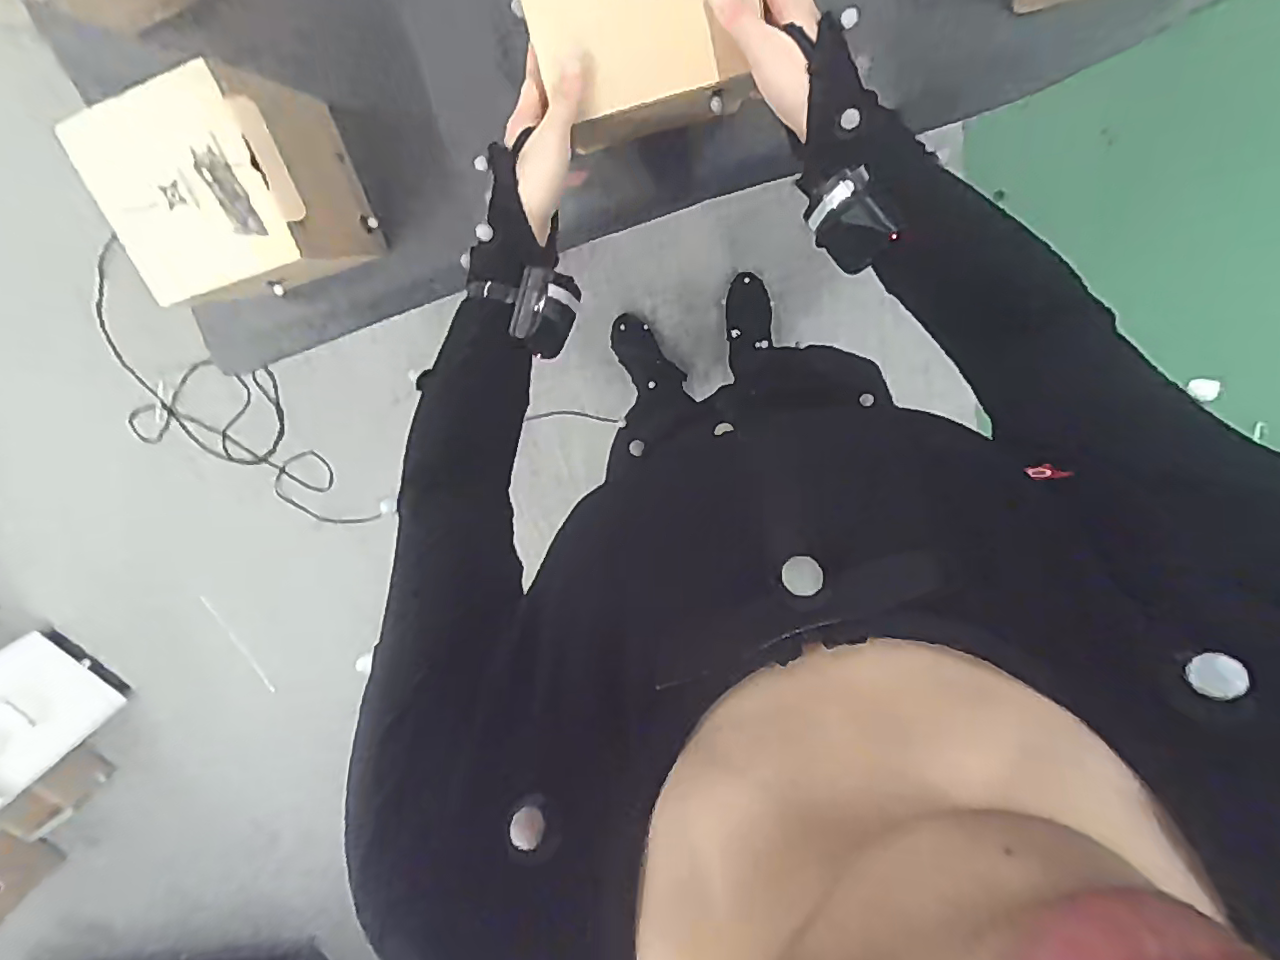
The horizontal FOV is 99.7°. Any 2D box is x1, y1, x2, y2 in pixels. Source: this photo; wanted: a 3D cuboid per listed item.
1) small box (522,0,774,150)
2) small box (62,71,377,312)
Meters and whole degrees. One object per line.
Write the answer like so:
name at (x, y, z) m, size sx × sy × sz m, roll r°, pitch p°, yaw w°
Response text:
small box at (-0.002, -0.397, 0.453) m, size 0.179 × 0.176 × 0.168 m, roll -14°, pitch 116°, yaw 5°
small box at (-0.415, -0.294, 0.577) m, size 0.179 × 0.176 × 0.168 m, roll -13°, pitch 112°, yaw 11°
